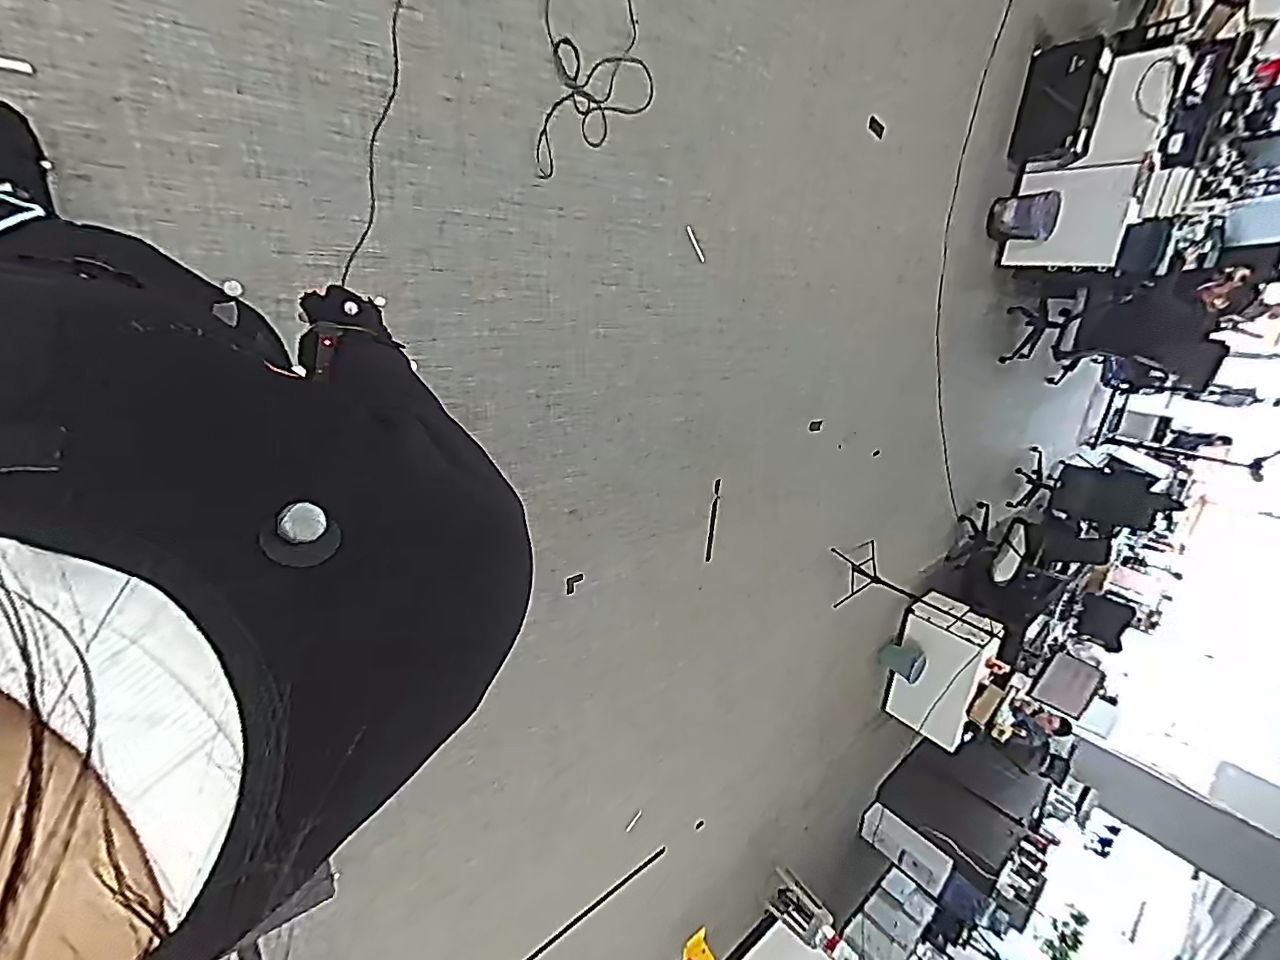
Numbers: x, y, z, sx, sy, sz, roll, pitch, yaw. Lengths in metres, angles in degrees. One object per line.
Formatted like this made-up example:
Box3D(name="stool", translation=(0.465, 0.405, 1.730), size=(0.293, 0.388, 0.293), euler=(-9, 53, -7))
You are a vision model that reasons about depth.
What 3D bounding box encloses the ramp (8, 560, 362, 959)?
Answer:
Box3D(name="ramp", translation=(-1.015, 0.723, 1.290), size=(0.509, 0.206, 0.991), euler=(-14, 114, -36))
